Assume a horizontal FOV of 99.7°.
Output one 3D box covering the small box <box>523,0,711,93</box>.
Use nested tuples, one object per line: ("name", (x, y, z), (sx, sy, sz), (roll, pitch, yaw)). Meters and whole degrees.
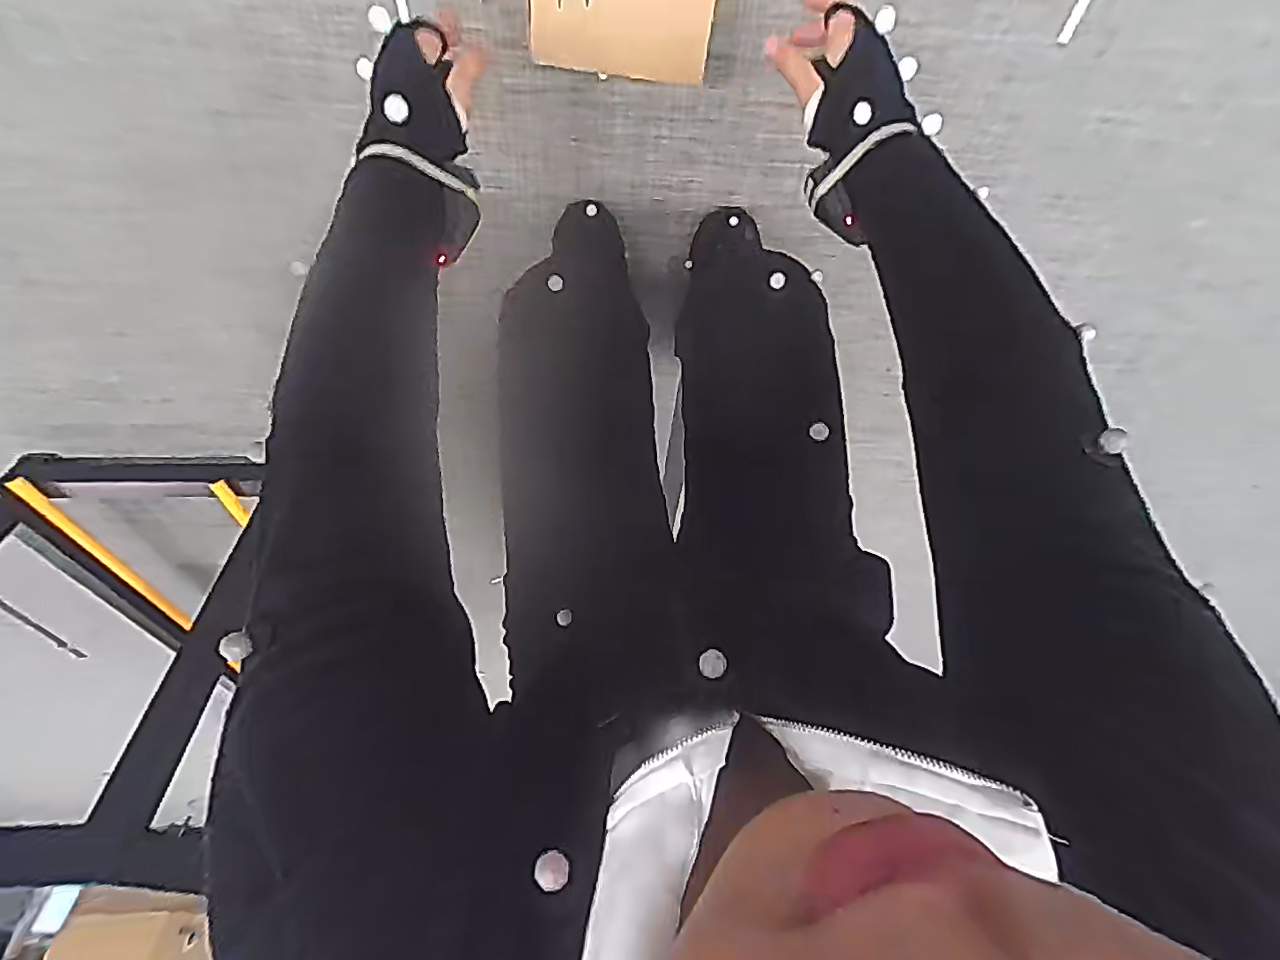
("small box", (-0.022, -0.519, 0.542), (0.179, 0.176, 0.168), (3, 139, -8))

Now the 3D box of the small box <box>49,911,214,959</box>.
("small box", (-0.908, 0.872, 0.945), (0.179, 0.176, 0.168), (-1, 140, -4))
